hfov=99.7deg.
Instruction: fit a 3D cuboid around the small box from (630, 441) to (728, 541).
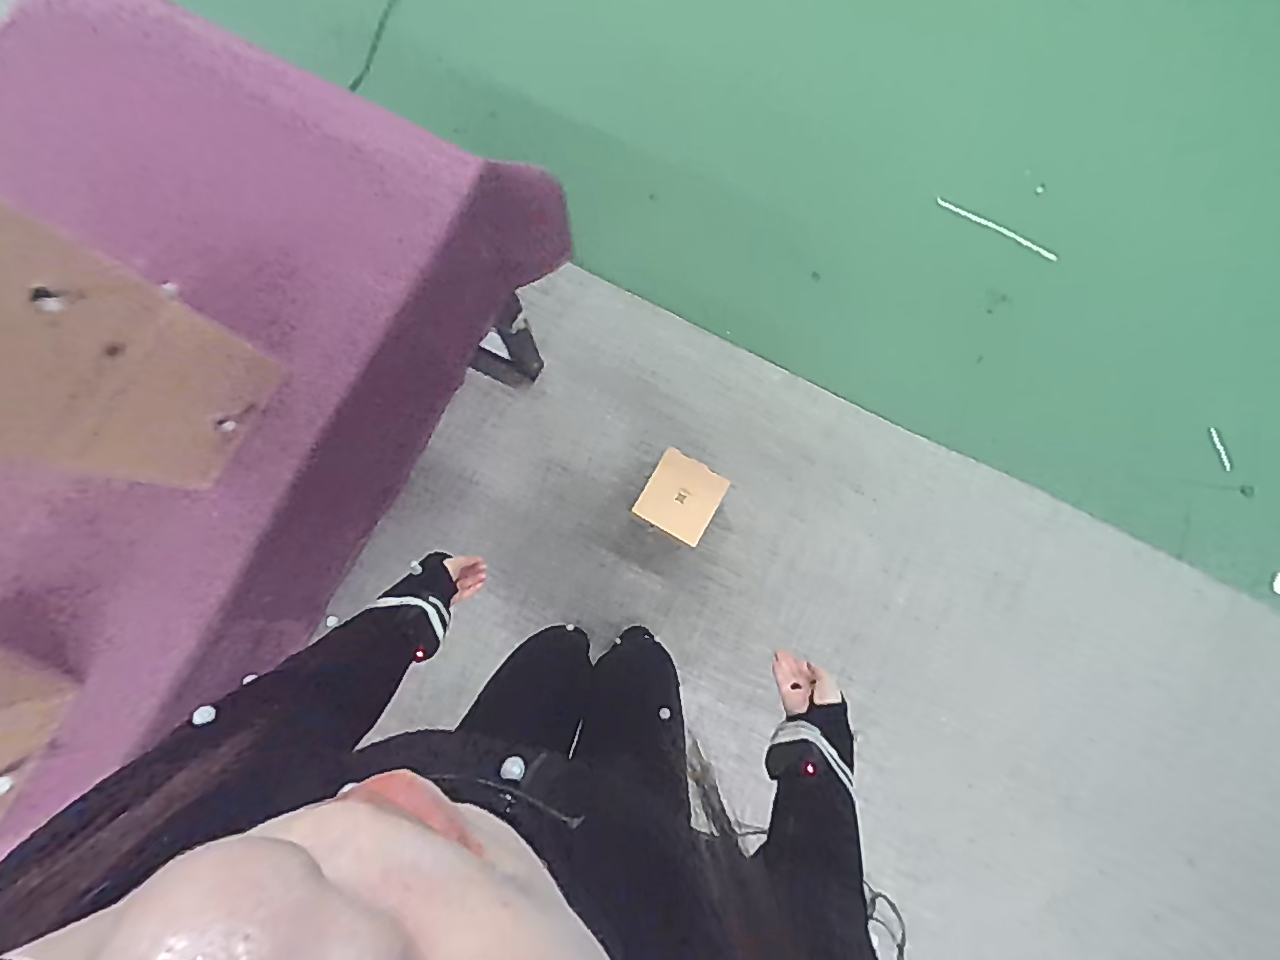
[{"bbox_3d":[0.087,0.036,1.296,0.168,0.176,0.179,30,81,1],"label":"small box"}]
